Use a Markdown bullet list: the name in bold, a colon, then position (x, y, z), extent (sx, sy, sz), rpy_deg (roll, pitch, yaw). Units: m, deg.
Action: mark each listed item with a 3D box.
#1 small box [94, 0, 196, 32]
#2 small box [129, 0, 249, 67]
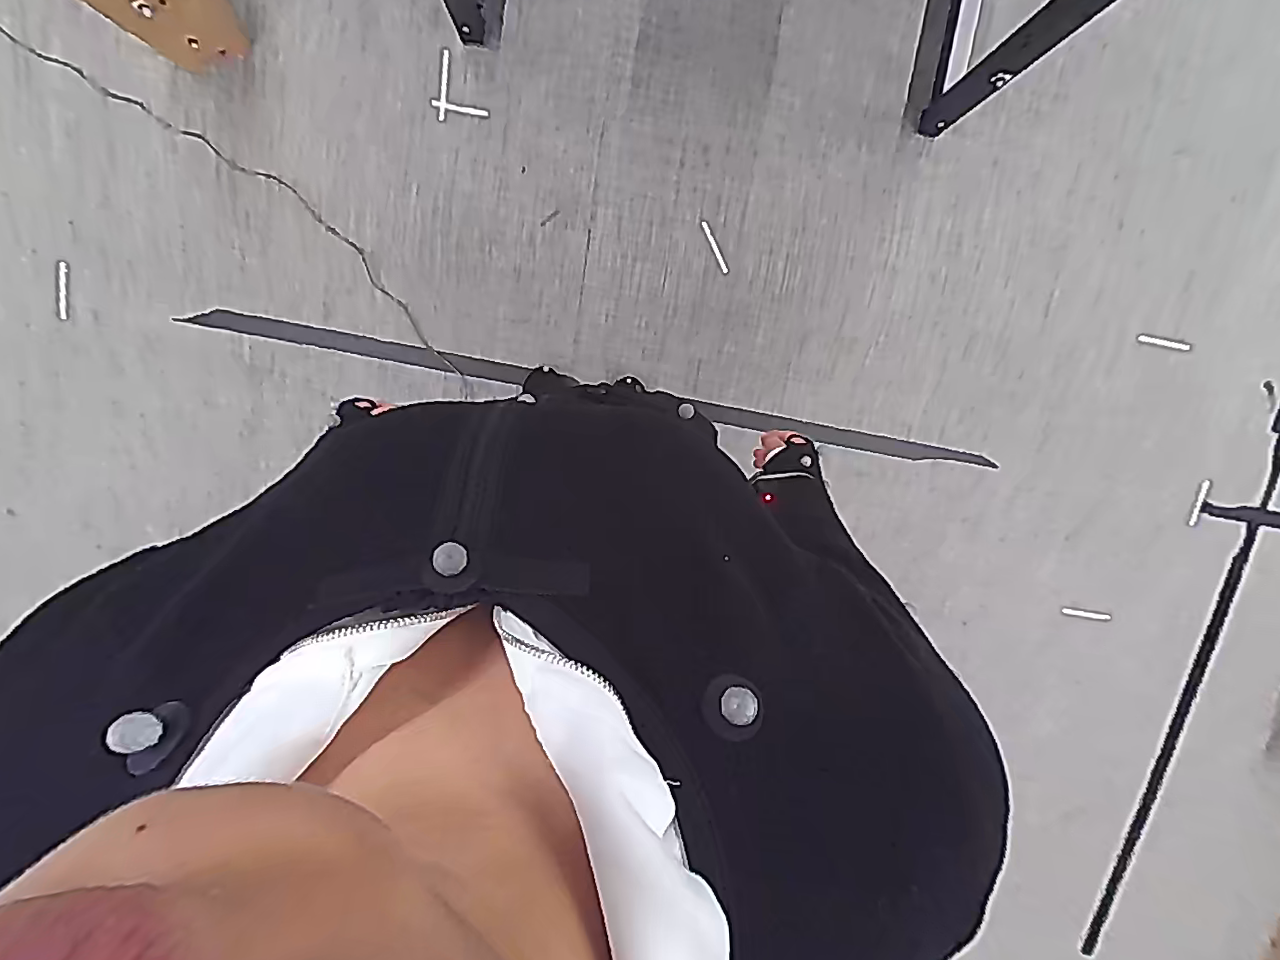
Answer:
- **small box**: position (-1.001, -1.011, 1.013), extent (0.168, 0.176, 0.179), rpy_deg (-27, 102, 4)
- **small box**: position (-1.006, -1.044, 1.173), extent (0.168, 0.176, 0.179), rpy_deg (-23, 100, 1)
